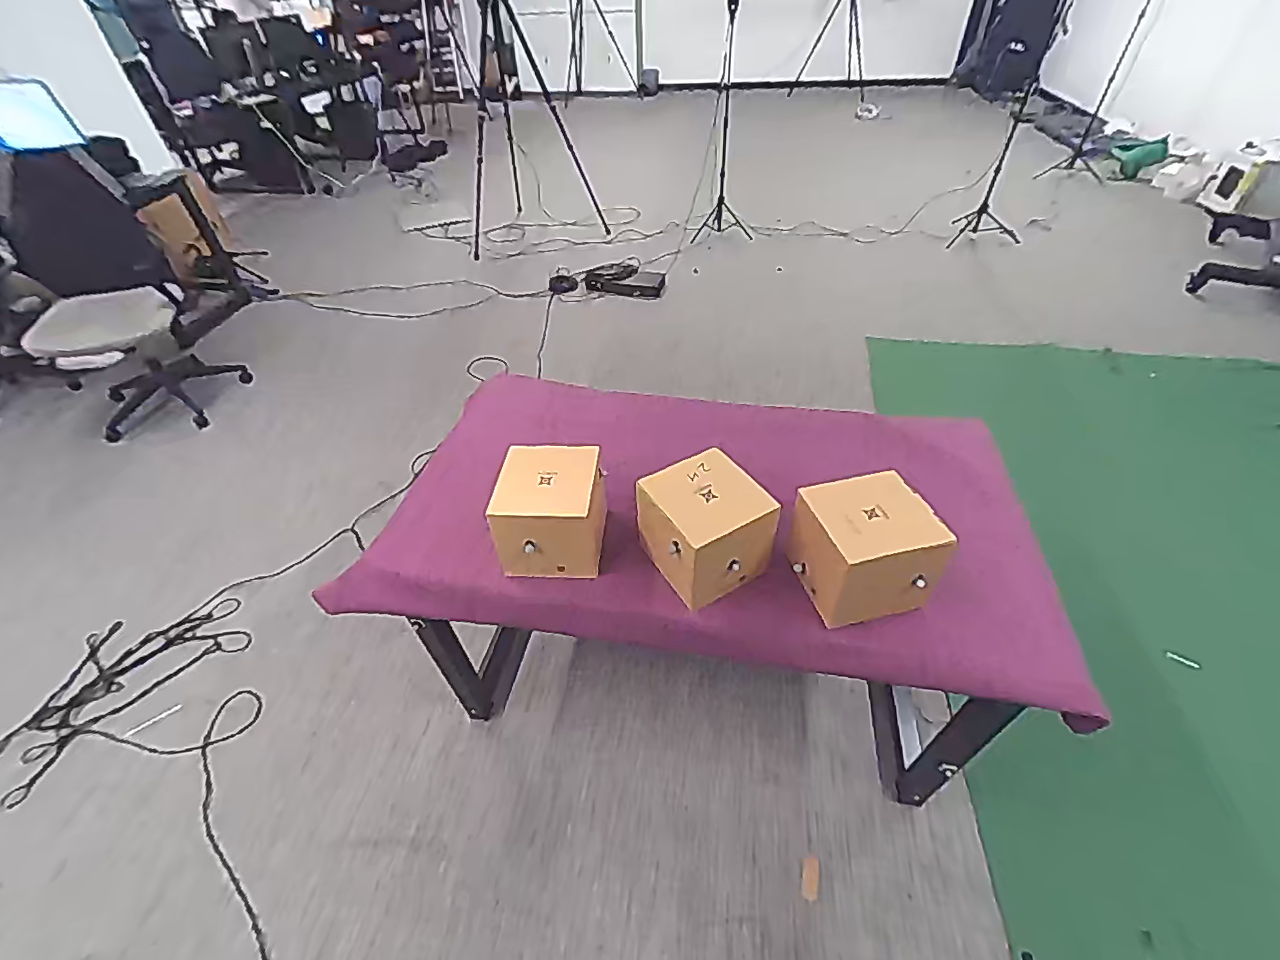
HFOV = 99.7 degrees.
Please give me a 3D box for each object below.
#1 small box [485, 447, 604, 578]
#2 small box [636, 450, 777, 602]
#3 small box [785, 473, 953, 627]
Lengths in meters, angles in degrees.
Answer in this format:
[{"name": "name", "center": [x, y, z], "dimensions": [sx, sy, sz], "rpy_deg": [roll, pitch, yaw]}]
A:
[{"name": "small box", "center": [-0.157, 0.059, 0.966], "dimensions": [0.168, 0.176, 0.179], "rpy_deg": [1, 42, 3]}, {"name": "small box", "center": [0.107, 0.083, 0.926], "dimensions": [0.168, 0.176, 0.179], "rpy_deg": [-23, 47, -21]}, {"name": "small box", "center": [0.358, 0.115, 0.885], "dimensions": [0.179, 0.176, 0.168], "rpy_deg": [-11, 42, -8]}]
